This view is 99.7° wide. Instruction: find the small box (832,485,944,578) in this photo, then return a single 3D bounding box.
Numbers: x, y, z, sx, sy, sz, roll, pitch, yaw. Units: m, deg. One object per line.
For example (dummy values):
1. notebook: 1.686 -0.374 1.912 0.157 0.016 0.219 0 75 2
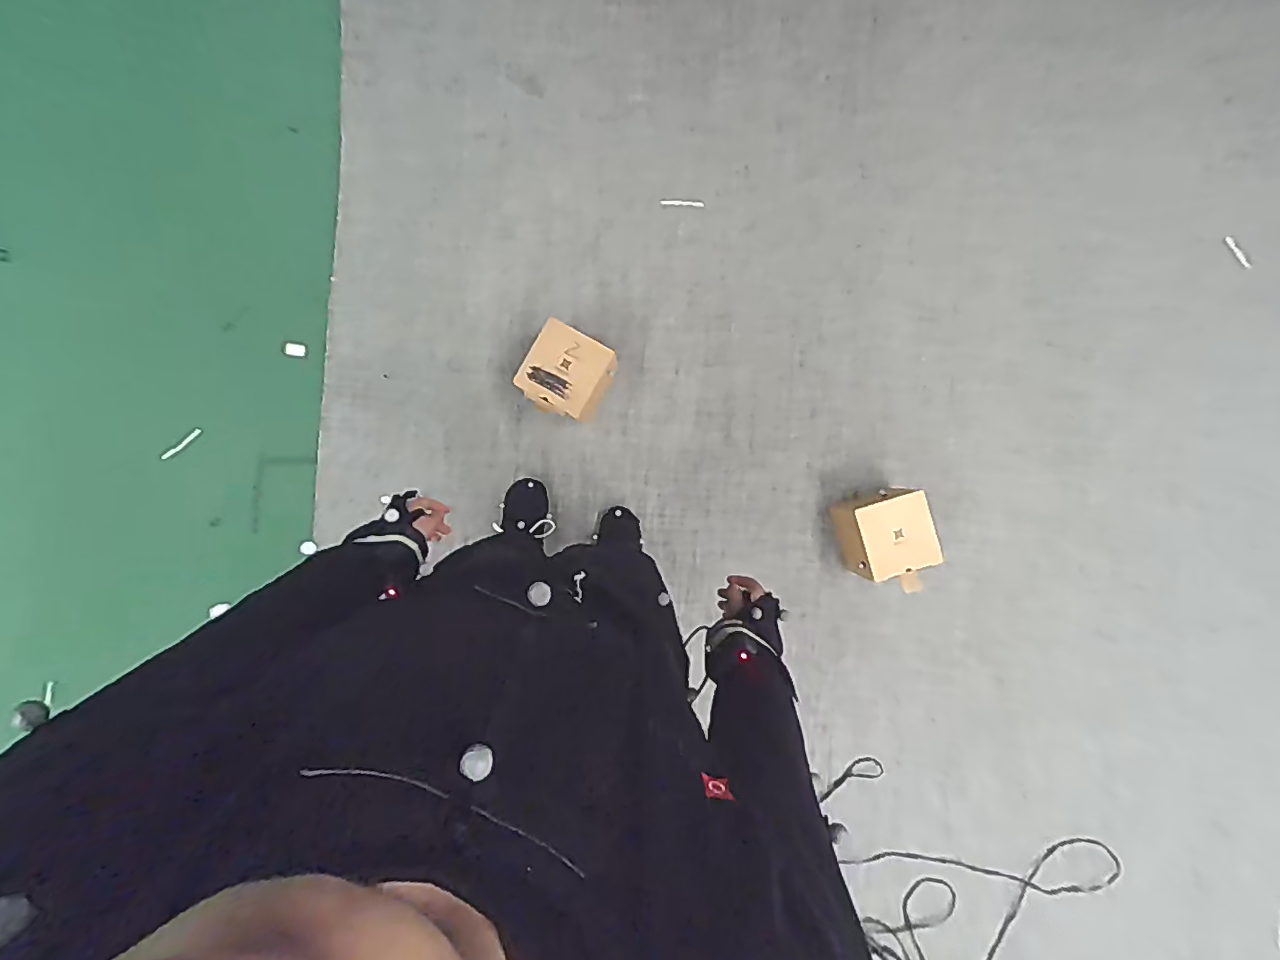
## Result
1. small box: 0.584 0.115 1.296 0.168 0.176 0.179 -17 92 0
